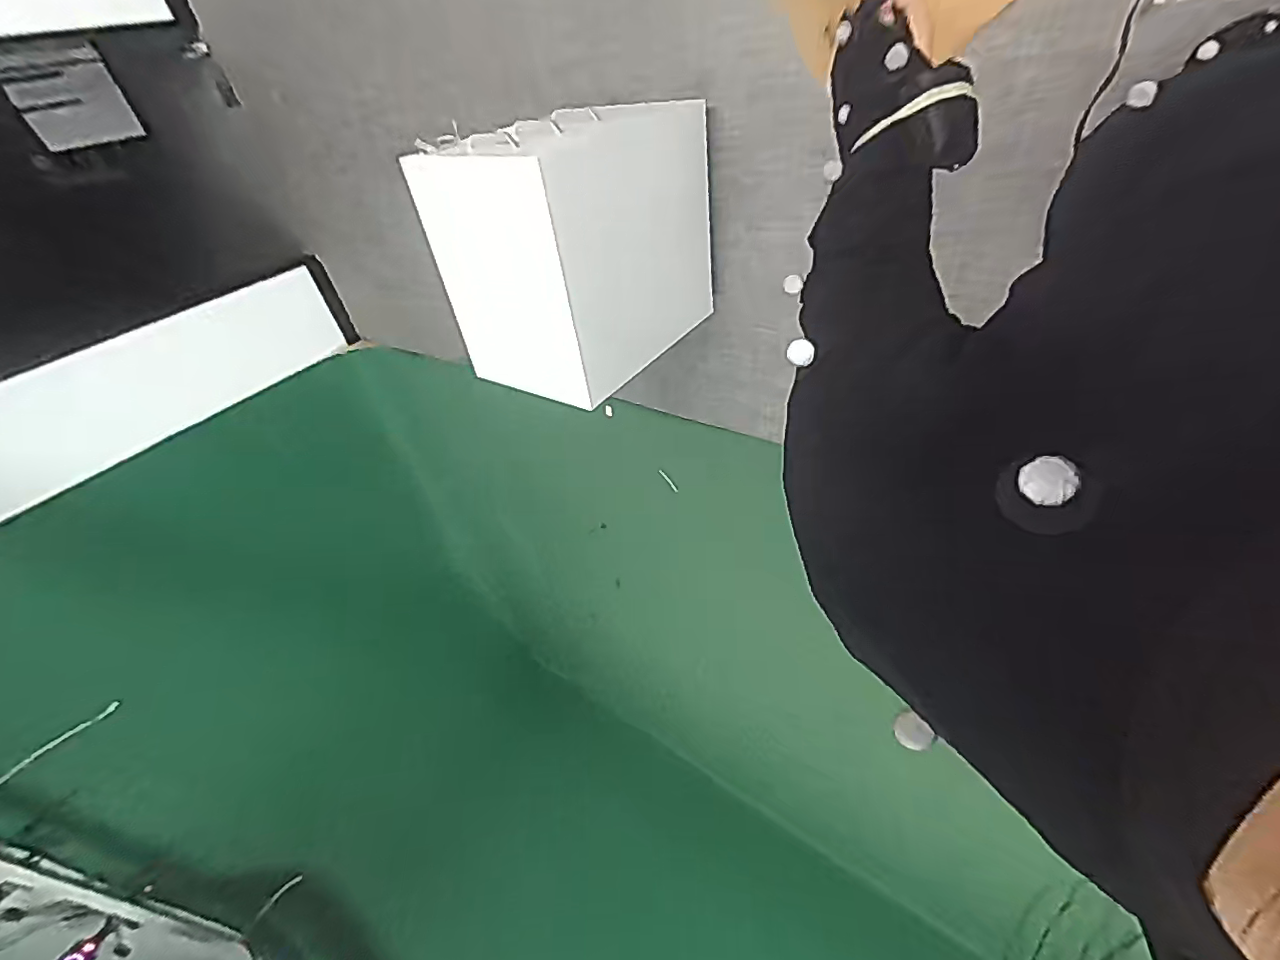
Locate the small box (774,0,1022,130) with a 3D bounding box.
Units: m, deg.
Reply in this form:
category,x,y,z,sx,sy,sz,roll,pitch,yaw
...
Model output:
category,x,y,z,sx,sy,sz,roll,pitch,yaw
small box,0.264,-0.495,0.532,0.176,0.179,0.168,-39,108,15
